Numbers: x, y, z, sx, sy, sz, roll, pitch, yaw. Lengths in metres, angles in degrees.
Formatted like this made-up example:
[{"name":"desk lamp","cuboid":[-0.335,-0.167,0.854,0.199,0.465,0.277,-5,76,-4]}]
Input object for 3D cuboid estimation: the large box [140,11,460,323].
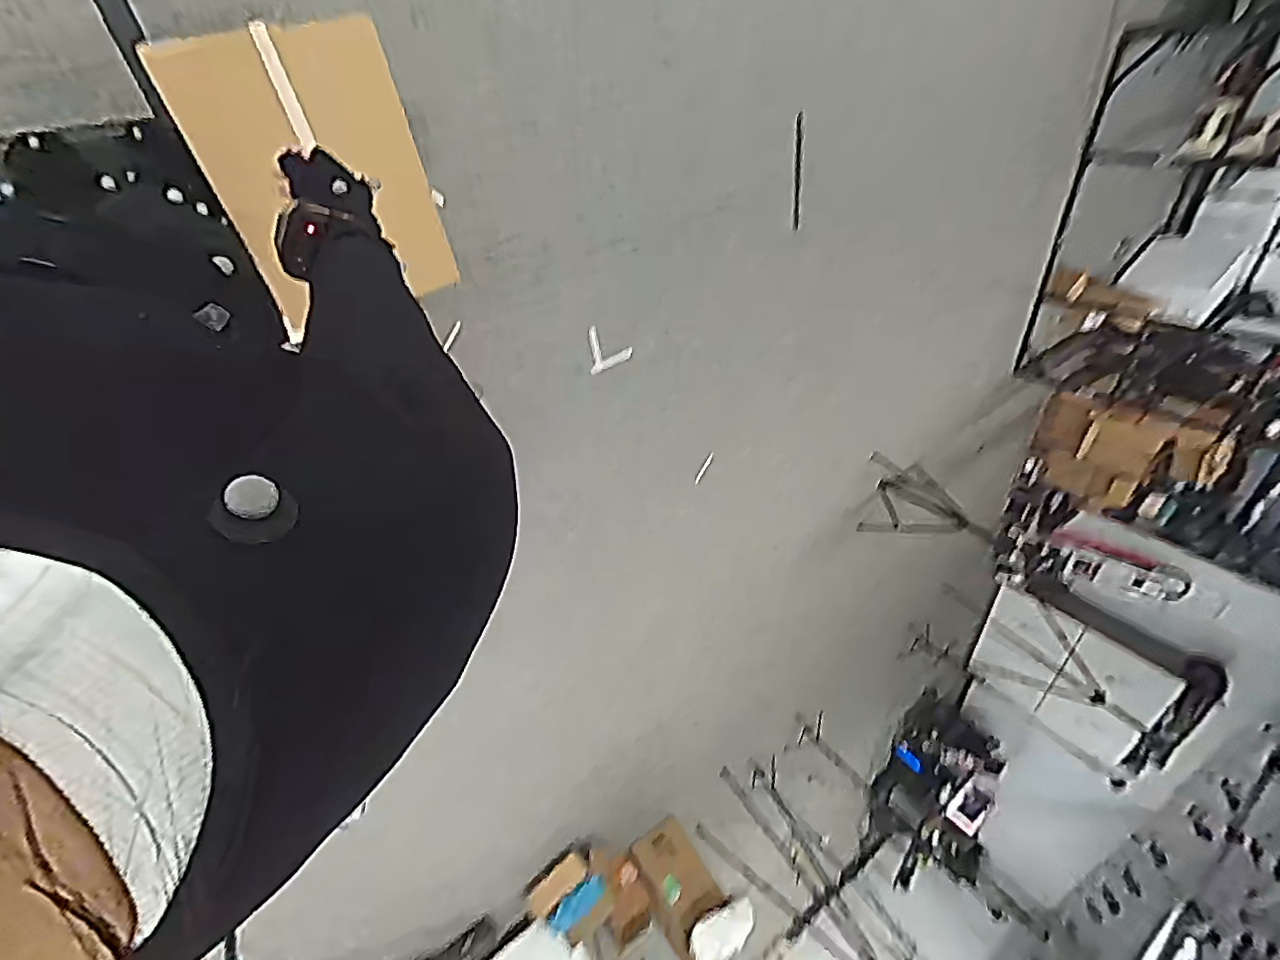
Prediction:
[{"name":"large box","cuboid":[-0.583,-0.567,0.994,0.320,0.320,0.408,-24,132,-17]}]
